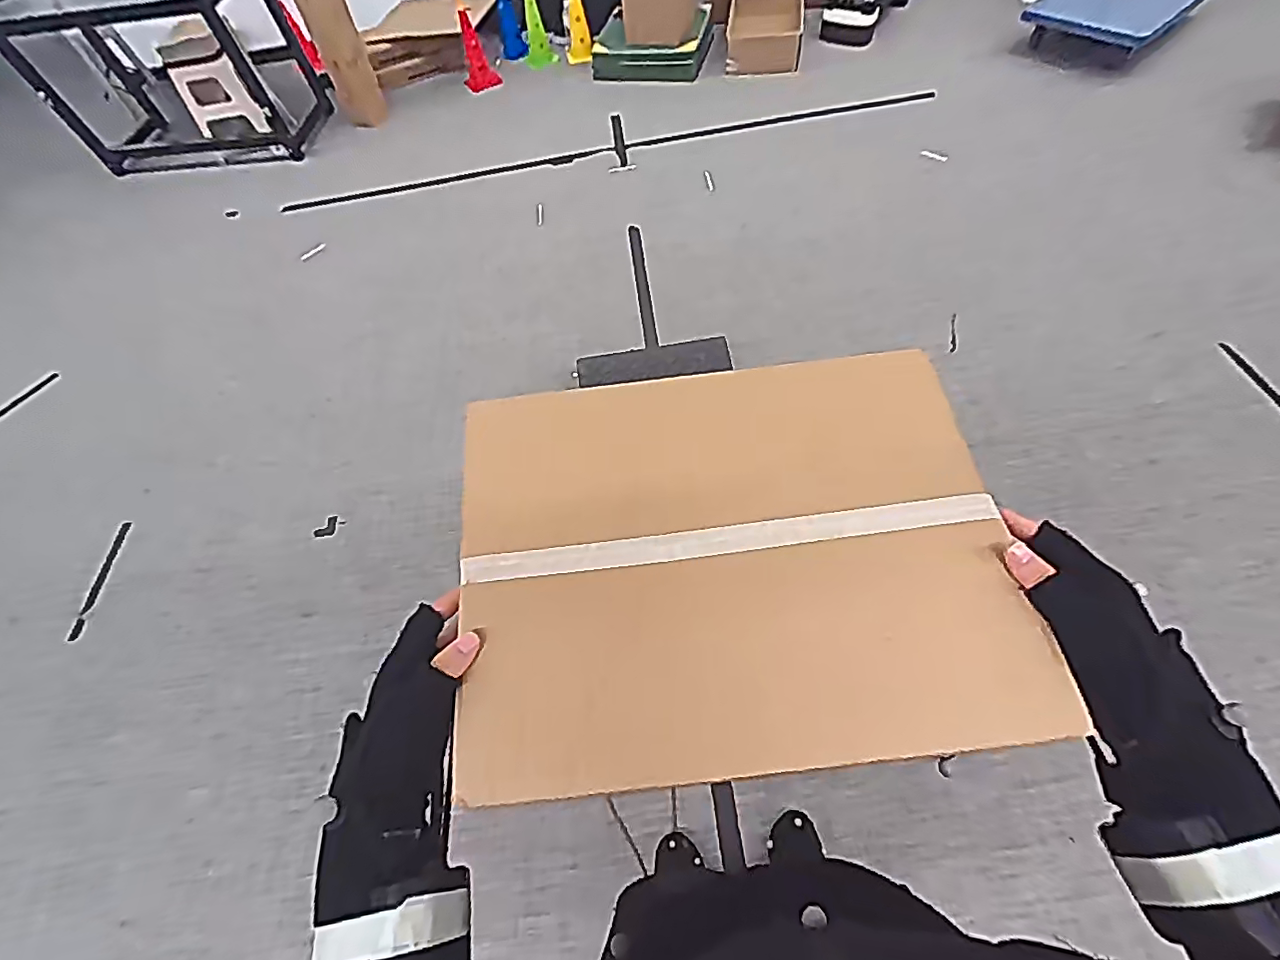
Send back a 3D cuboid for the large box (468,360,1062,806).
[{"bbox_3d":[0.076,0.116,0.552,0.408,0.320,0.320,-6,63,0],"label":"large box"}]
